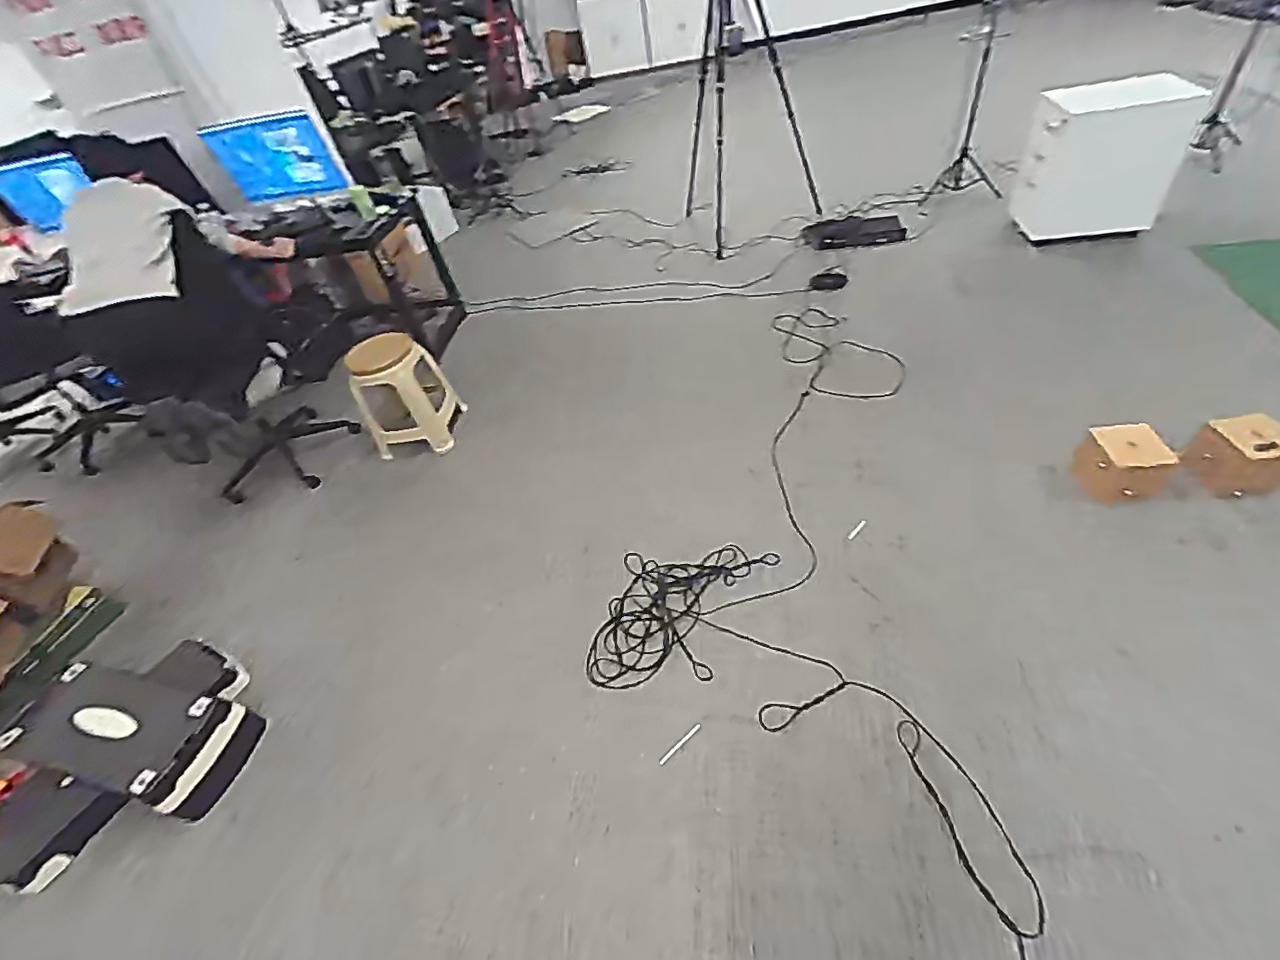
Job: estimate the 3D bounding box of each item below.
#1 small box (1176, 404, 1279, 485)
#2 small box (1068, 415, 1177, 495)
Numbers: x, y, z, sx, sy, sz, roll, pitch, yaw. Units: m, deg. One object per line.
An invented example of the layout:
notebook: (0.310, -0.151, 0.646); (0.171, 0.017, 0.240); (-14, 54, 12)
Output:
small box: (1.799, -0.100, 1.628); (0.168, 0.176, 0.179); (-8, 45, 6)
small box: (1.487, -0.076, 1.684); (0.168, 0.176, 0.179); (-6, 47, 10)
